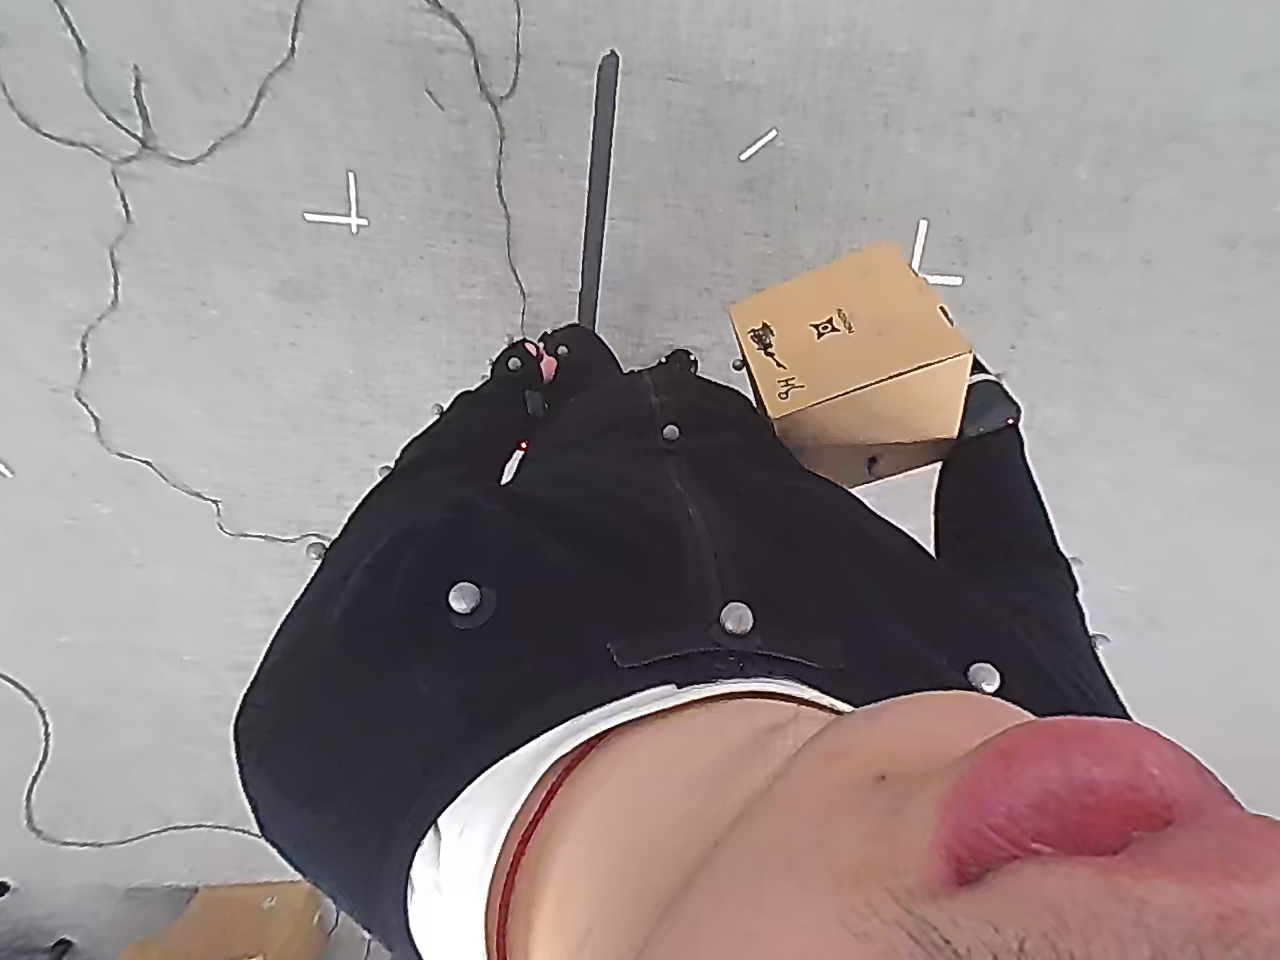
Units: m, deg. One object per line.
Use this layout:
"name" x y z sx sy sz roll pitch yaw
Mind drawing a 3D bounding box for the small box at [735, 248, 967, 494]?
"small box" 0.220 -0.110 0.595 0.179 0.168 0.176 -18 143 12
